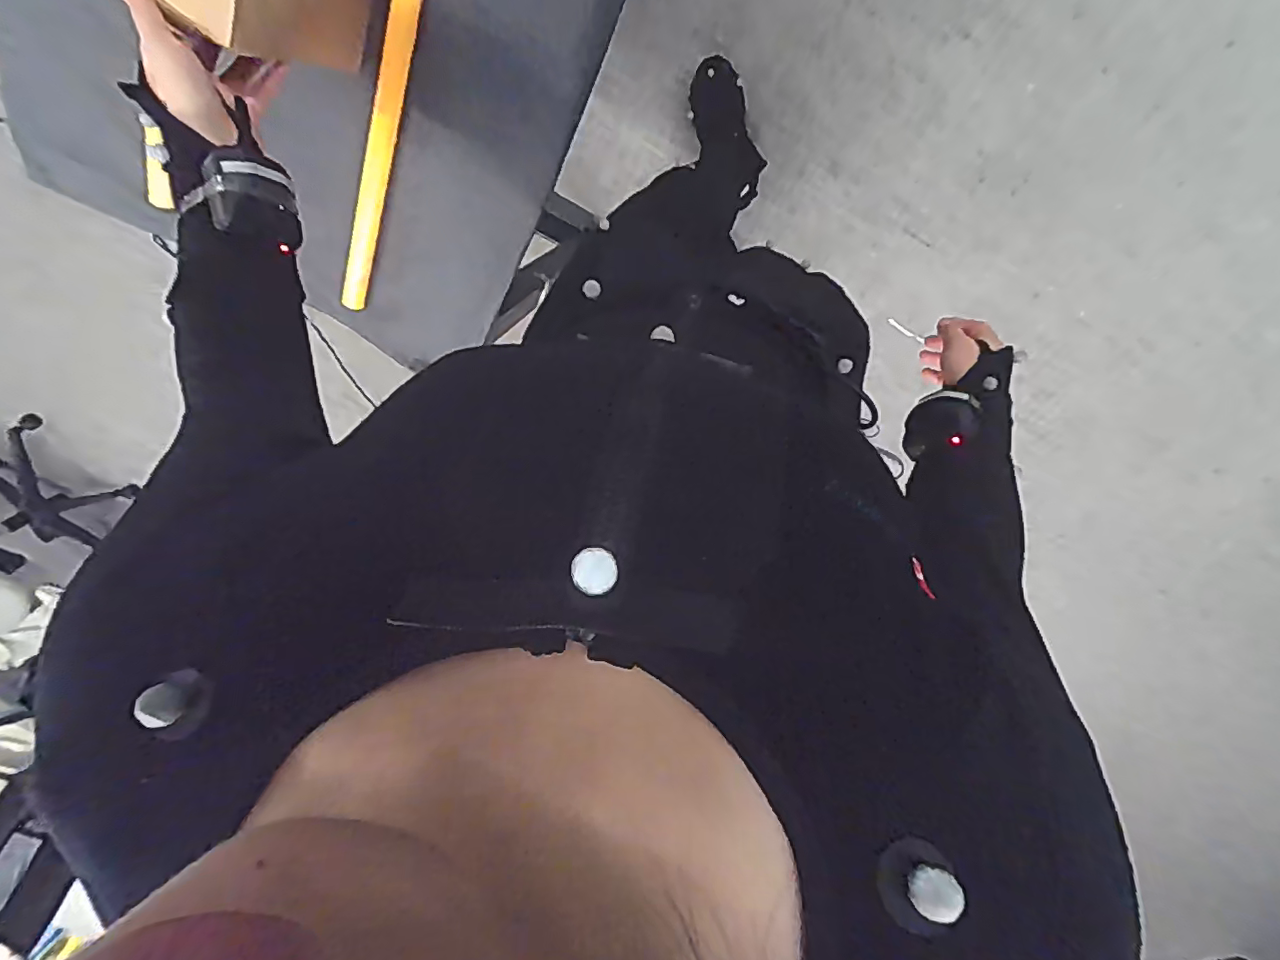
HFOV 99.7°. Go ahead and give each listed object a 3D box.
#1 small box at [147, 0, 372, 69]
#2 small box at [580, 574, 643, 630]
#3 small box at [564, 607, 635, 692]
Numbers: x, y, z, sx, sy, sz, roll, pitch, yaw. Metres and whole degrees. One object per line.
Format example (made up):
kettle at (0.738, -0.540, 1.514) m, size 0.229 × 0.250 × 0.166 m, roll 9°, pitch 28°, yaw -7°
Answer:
small box at (-0.329, -0.475, 0.438) m, size 0.168 × 0.176 × 0.179 m, roll 30°, pitch 123°, yaw -9°
small box at (-0.098, 0.457, 1.875) m, size 0.168 × 0.176 × 0.179 m, roll 24°, pitch 124°, yaw -6°
small box at (-0.124, 0.538, 1.733) m, size 0.168 × 0.176 × 0.179 m, roll 23°, pitch 124°, yaw -4°
